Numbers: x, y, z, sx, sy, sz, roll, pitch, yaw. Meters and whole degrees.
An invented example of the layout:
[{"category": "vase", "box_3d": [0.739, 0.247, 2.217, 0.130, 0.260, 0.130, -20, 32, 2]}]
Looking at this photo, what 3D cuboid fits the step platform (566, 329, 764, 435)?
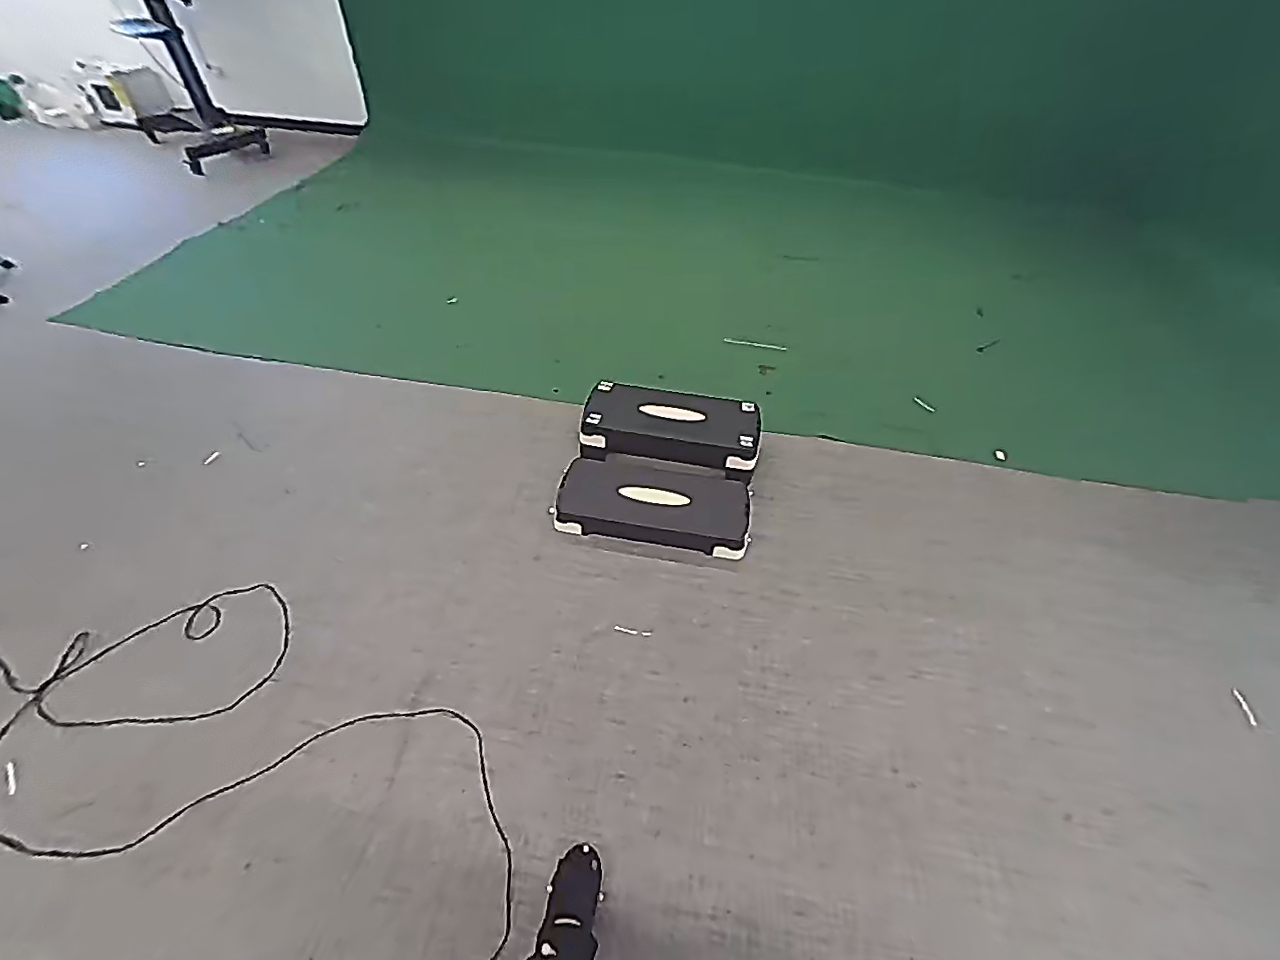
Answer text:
[{"category": "step platform", "box_3d": [0.087, -0.355, 1.957, 0.684, 0.204, 0.286, 8, 48, 5]}]
